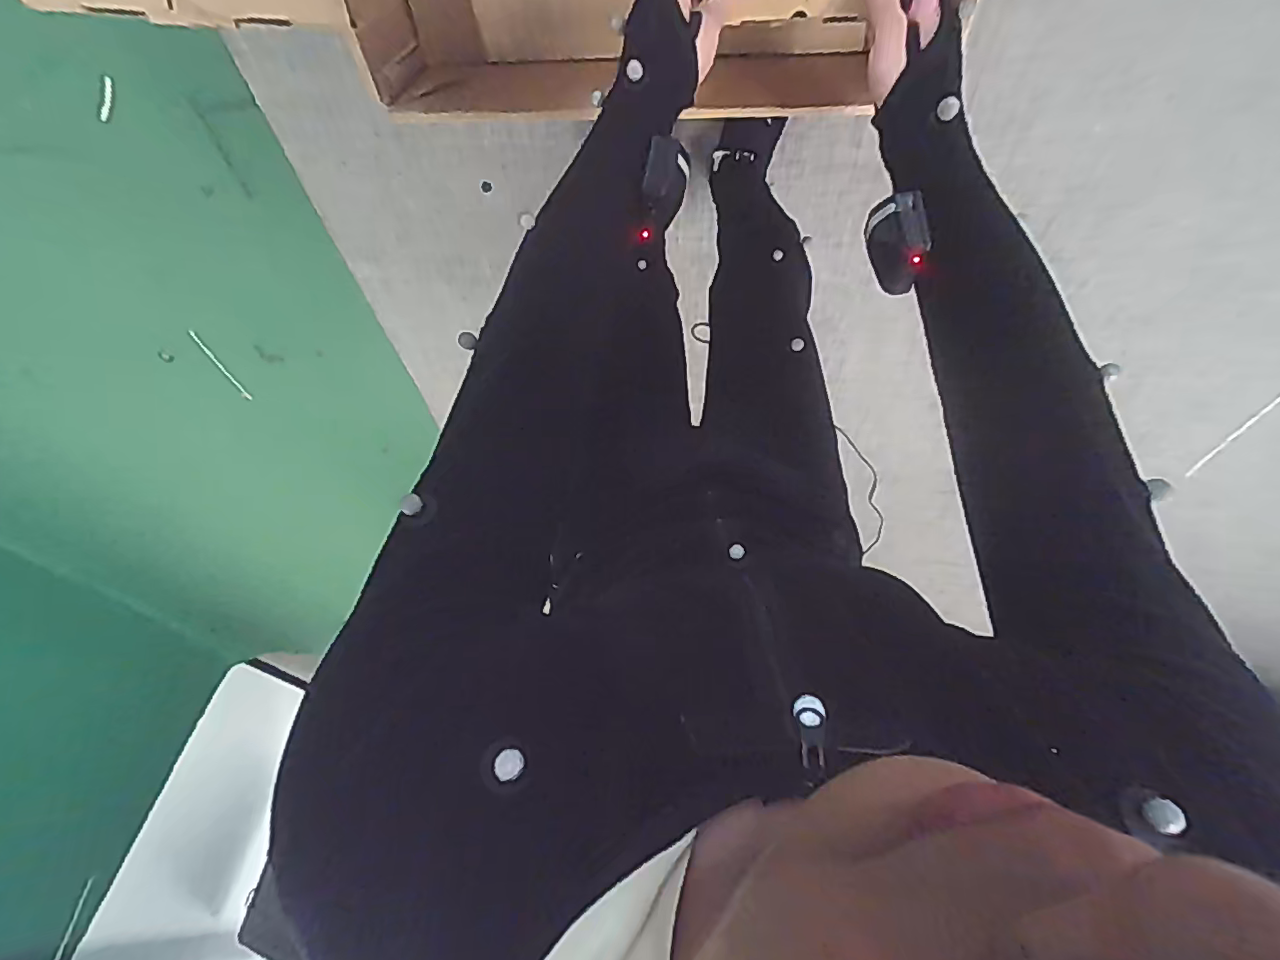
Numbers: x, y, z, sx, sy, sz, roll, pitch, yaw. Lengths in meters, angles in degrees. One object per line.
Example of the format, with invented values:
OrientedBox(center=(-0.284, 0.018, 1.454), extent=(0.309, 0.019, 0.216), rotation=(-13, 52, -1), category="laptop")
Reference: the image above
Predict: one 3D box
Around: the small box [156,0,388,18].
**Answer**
OrientedBox(center=(-0.197, -0.340, 0.232), extent=(0.168, 0.176, 0.179), rotation=(6, 145, 2), category="small box")

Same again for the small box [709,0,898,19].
OrientedBox(center=(0.150, -0.530, 0.461), extent=(0.168, 0.176, 0.179), rotation=(4, 143, 7), category="small box")
